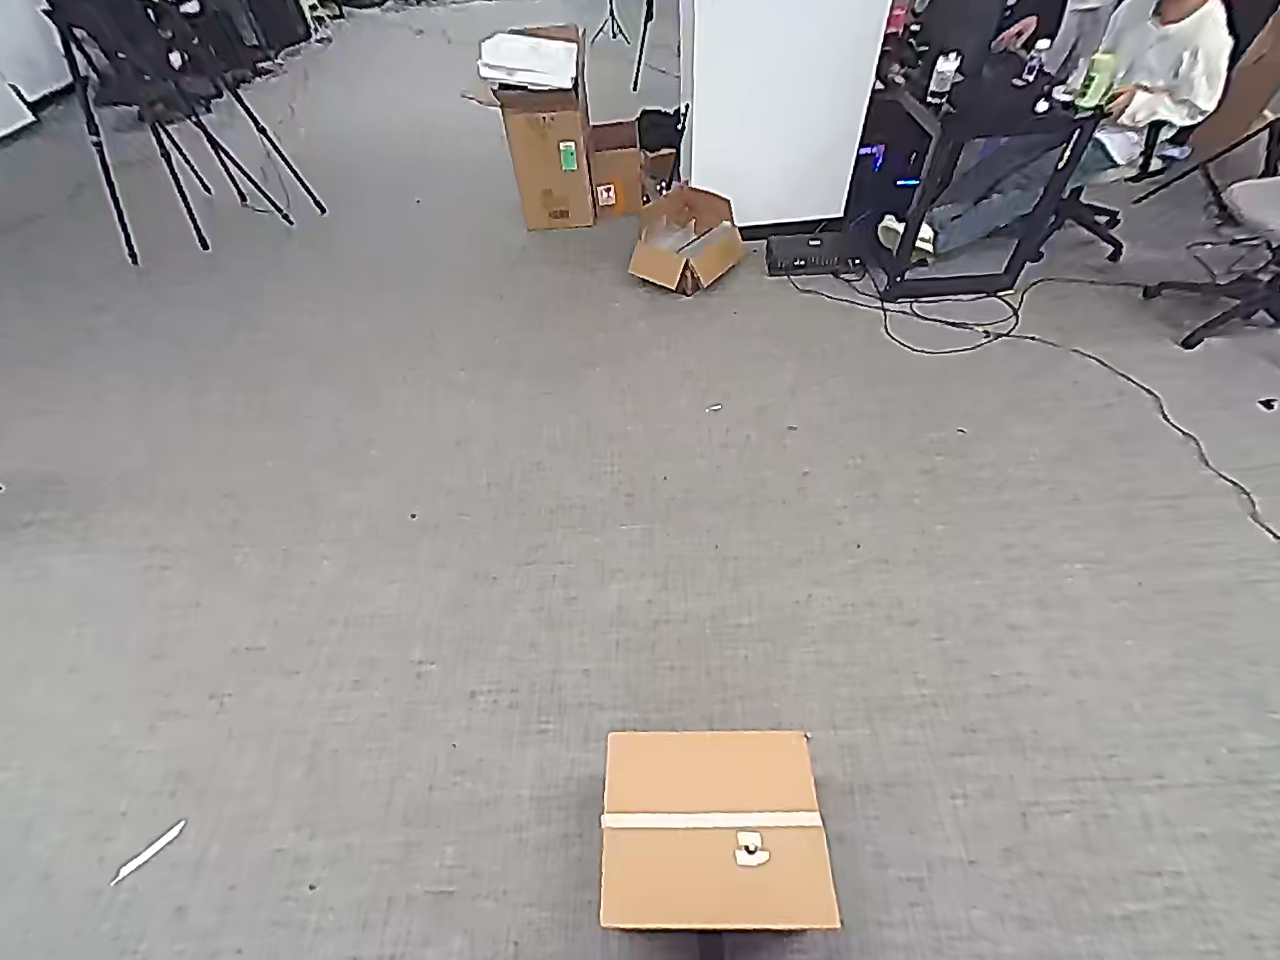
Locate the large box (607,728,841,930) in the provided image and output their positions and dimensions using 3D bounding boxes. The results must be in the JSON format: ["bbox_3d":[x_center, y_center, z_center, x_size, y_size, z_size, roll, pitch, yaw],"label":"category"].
[{"bbox_3d":[0.144,0.724,1.118,0.408,0.320,0.320,-2,51,2],"label":"large box"}]
